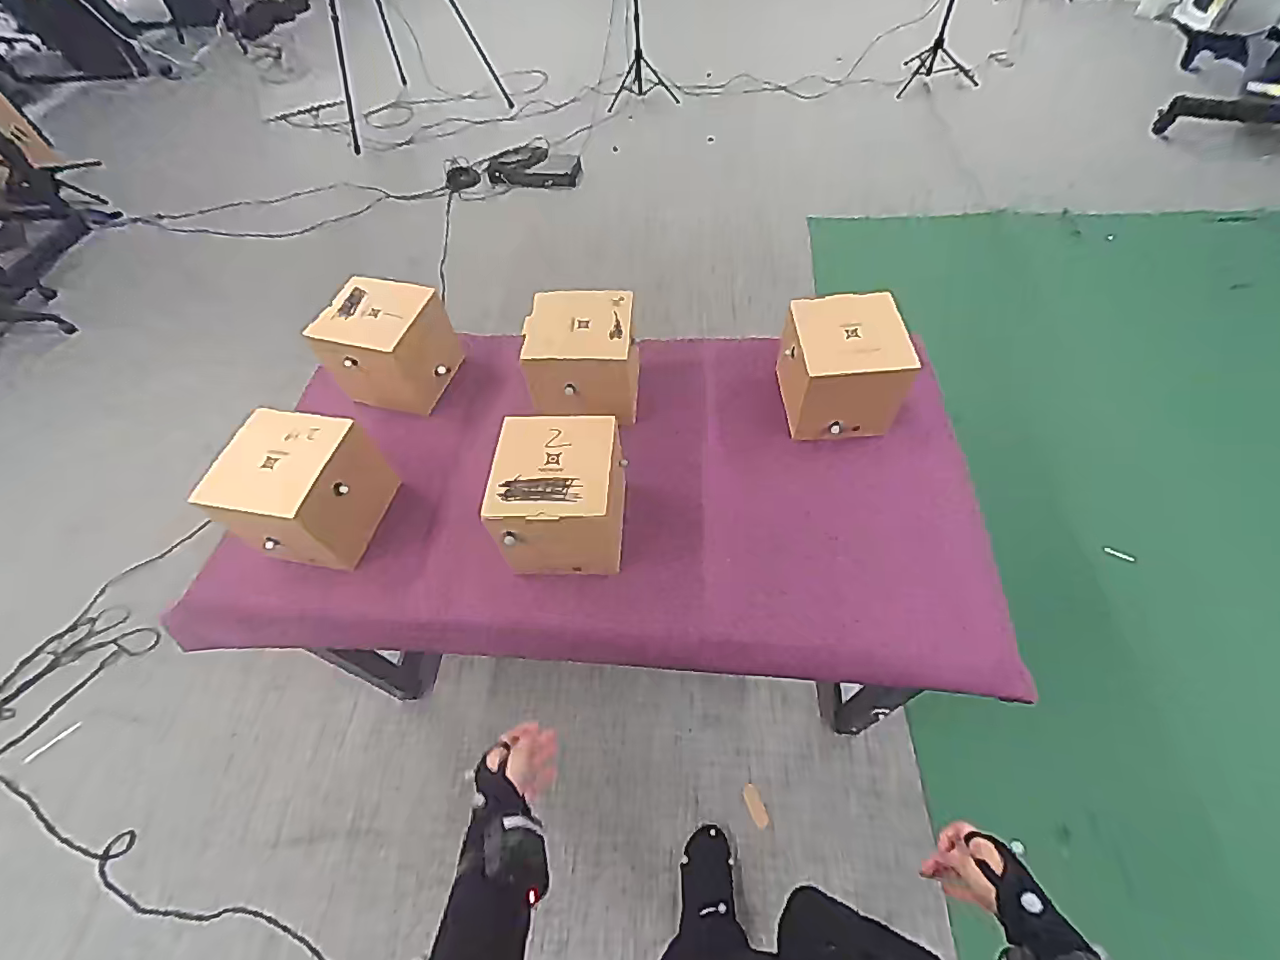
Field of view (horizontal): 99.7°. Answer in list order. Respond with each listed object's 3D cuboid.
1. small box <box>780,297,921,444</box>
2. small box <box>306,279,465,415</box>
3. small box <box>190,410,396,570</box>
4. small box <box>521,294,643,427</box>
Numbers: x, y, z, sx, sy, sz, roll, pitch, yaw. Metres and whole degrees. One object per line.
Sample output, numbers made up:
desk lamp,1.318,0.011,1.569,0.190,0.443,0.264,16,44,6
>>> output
small box,0.338,-0.180,0.910,0.168,0.176,0.179,-3,57,4
small box,-0.458,-0.242,1.004,0.179,0.176,0.168,12,59,10
small box,-0.509,0.020,0.828,0.168,0.176,0.179,8,56,9
small box,-0.092,-0.206,0.957,0.179,0.176,0.168,0,58,5
